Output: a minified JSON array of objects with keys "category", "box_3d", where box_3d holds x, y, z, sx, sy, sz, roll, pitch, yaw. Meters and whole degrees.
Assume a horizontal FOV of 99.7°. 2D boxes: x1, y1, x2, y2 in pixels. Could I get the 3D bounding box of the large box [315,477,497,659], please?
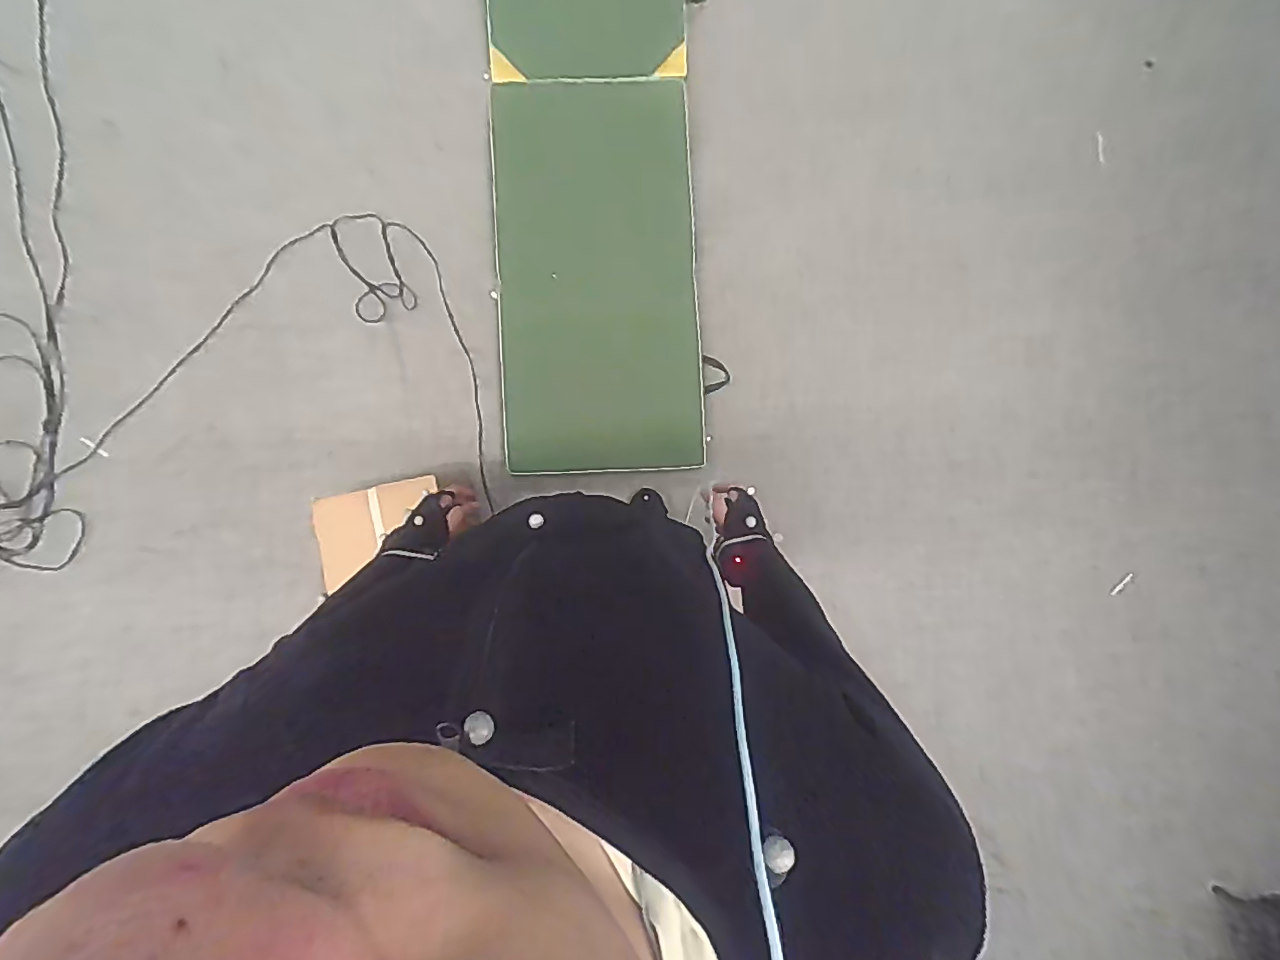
[{"category":"large box","box_3d":[-0.617,0.224,1.485,0.320,0.320,0.408,-12,87,-2]}]
